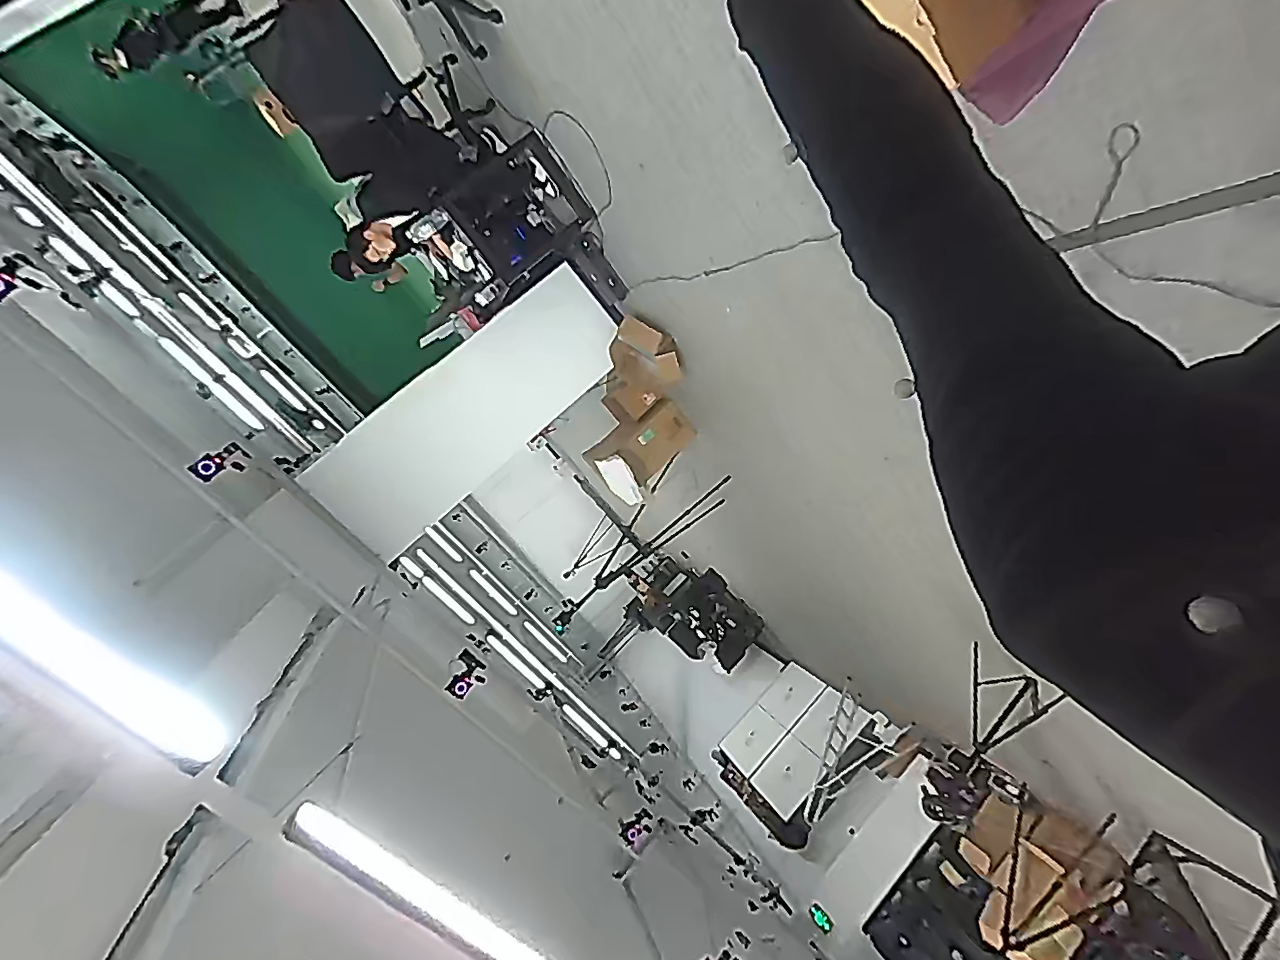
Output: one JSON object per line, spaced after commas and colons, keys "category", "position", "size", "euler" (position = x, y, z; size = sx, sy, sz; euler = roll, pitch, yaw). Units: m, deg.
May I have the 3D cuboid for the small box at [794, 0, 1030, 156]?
{"category": "small box", "position": [0.343, -0.573, 0.695], "size": [0.168, 0.176, 0.179], "euler": [50, 167, -15]}
